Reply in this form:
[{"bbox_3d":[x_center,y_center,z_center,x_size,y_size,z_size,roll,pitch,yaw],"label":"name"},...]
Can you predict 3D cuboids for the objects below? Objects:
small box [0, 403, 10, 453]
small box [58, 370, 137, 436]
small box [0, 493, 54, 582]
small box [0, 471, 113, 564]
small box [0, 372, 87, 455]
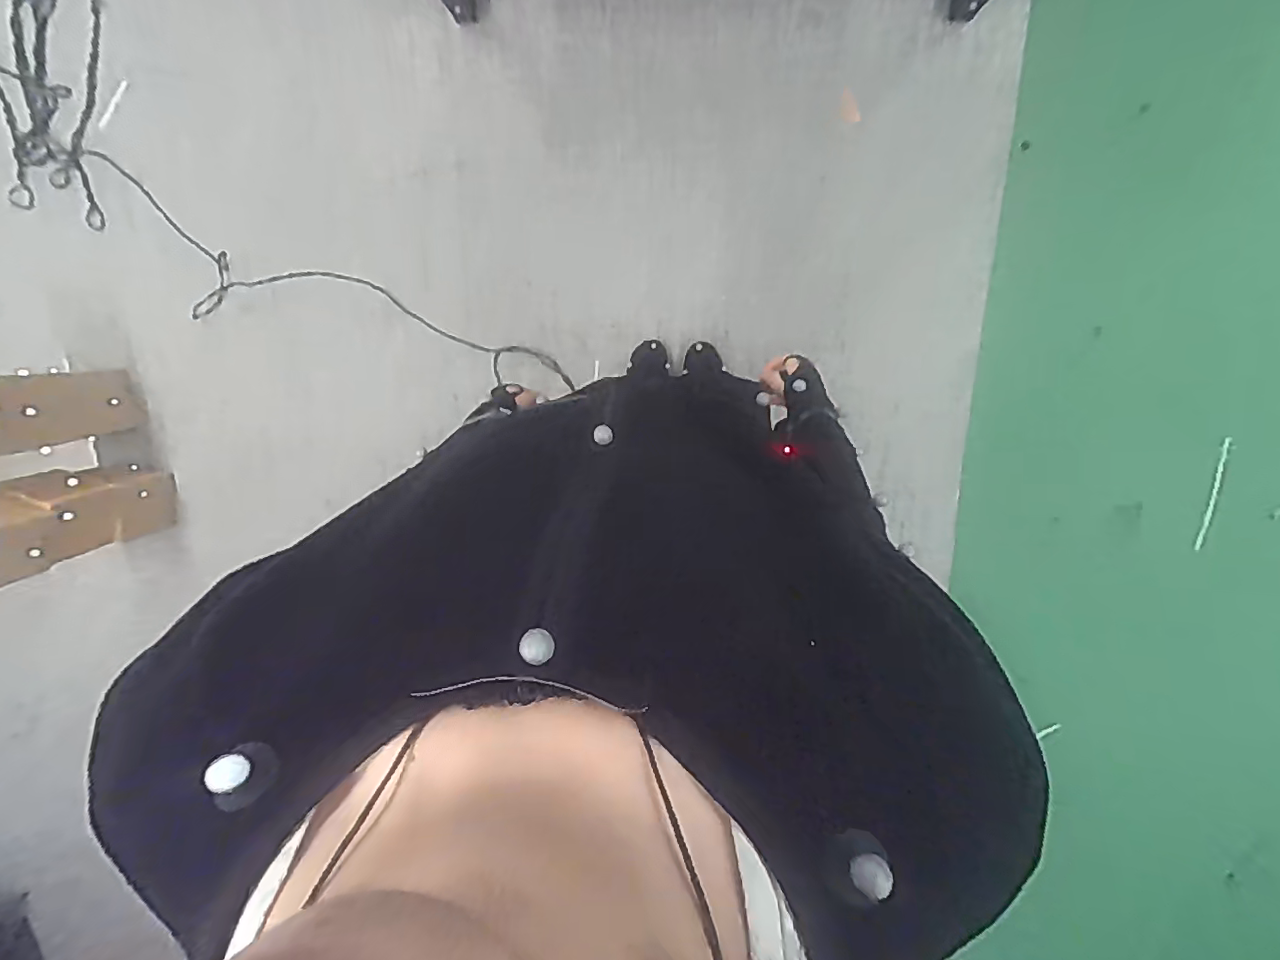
[{"bbox_3d":[-1.533,-0.122,1.161,0.179,0.176,0.168,-3,104,2],"label":"small box"},{"bbox_3d":[-1.535,-0.207,1.476,0.179,0.176,0.168,-6,104,5],"label":"small box"},{"bbox_3d":[-1.514,0.135,1.227,0.179,0.176,0.168,22,104,-3],"label":"small box"},{"bbox_3d":[-1.513,0.093,1.386,0.168,0.176,0.179,17,104,-1],"label":"small box"},{"bbox_3d":[-1.531,-0.160,1.320,0.168,0.176,0.179,-11,104,5],"label":"small box"}]
